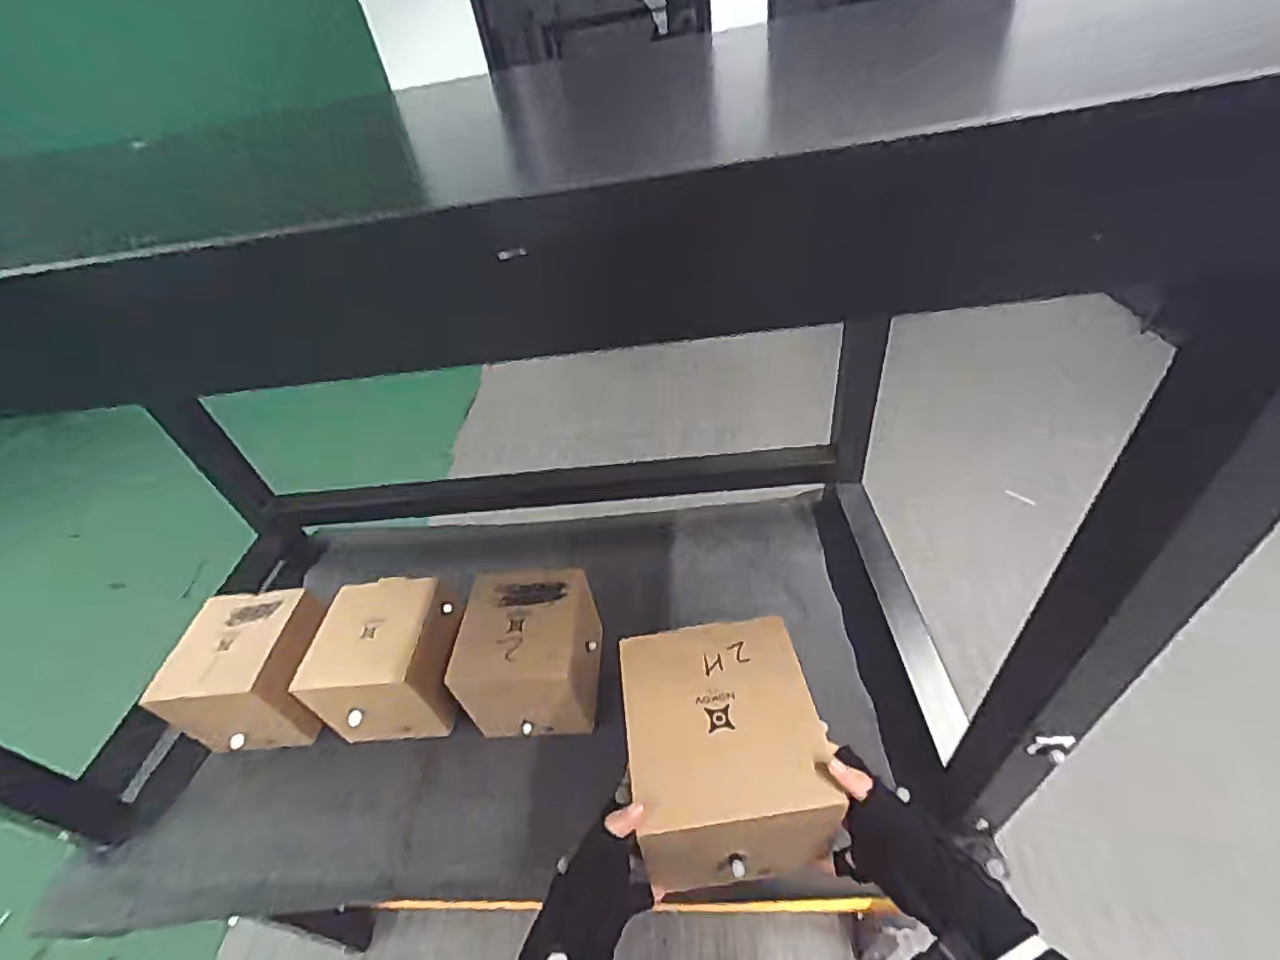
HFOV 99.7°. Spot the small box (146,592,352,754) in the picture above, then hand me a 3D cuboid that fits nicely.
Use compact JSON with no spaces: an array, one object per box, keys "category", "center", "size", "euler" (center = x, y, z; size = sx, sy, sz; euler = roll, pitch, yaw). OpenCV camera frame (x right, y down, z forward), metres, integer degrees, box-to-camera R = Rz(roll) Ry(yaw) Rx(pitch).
[{"category":"small box","center":[-0.588,0.302,0.848],"size":[0.168,0.176,0.179],"euler":[-7,41,5]}]

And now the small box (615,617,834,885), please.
[{"category":"small box","center":[0.071,0.263,0.522],"size":[0.168,0.176,0.179],"euler":[-8,39,0]}]
